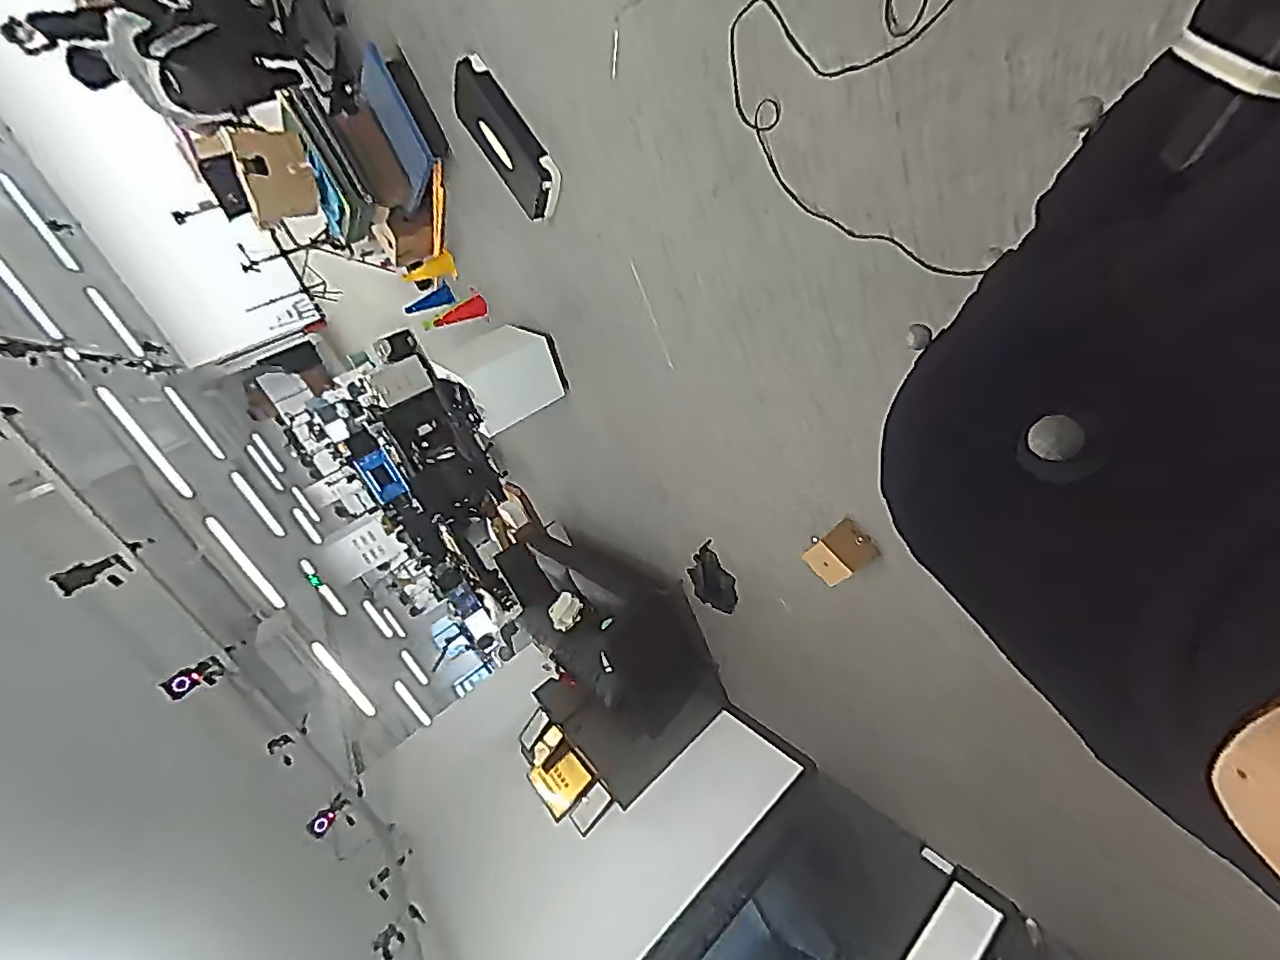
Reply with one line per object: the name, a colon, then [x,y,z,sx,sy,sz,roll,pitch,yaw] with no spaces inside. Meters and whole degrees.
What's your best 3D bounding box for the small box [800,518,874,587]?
small box: [0.760,0.279,2.081,0.168,0.176,0.179,47,154,15]
